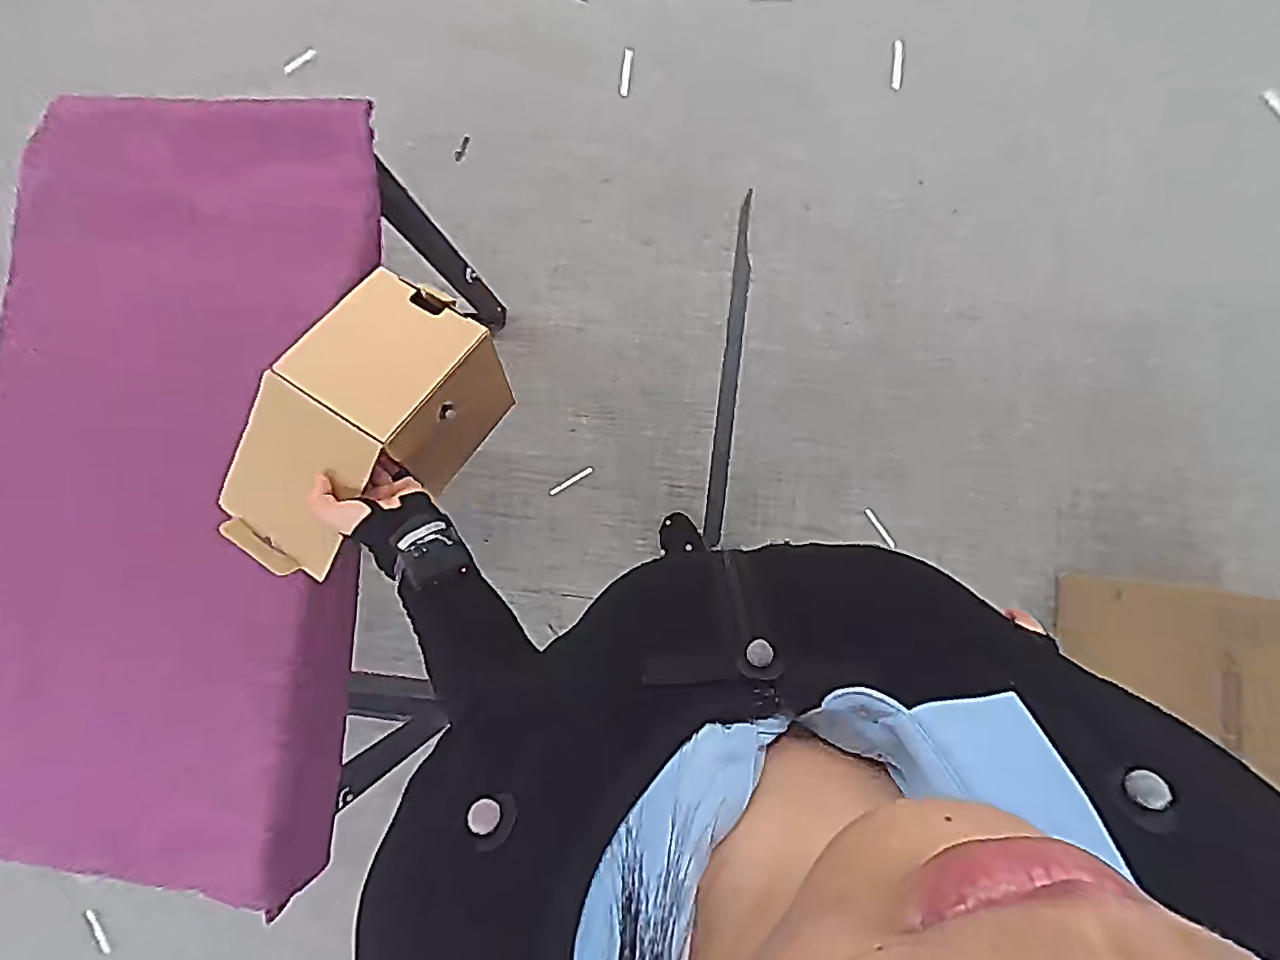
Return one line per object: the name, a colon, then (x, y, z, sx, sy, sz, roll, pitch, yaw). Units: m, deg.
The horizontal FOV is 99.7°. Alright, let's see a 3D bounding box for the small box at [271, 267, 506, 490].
small box: (-0.288, -0.114, 0.669, 0.168, 0.176, 0.179, 31, 70, 10)
